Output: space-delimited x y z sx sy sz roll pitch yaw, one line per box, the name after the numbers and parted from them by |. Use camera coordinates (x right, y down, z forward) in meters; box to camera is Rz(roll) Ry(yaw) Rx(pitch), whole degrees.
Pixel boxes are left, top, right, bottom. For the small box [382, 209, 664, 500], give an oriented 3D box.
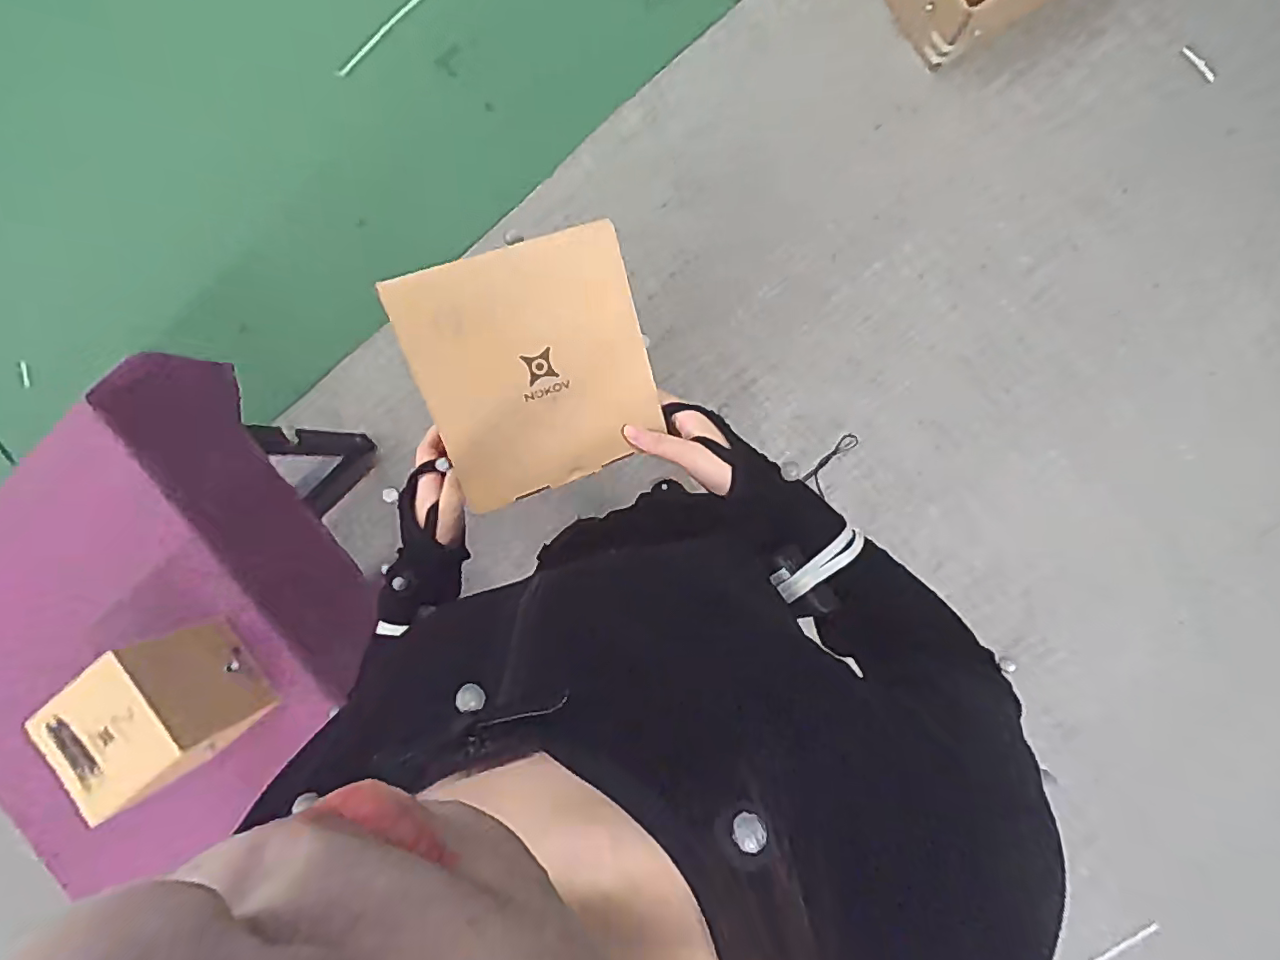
-0.100 -0.113 0.466 0.168 0.176 0.179 -21 116 -12 | small box
